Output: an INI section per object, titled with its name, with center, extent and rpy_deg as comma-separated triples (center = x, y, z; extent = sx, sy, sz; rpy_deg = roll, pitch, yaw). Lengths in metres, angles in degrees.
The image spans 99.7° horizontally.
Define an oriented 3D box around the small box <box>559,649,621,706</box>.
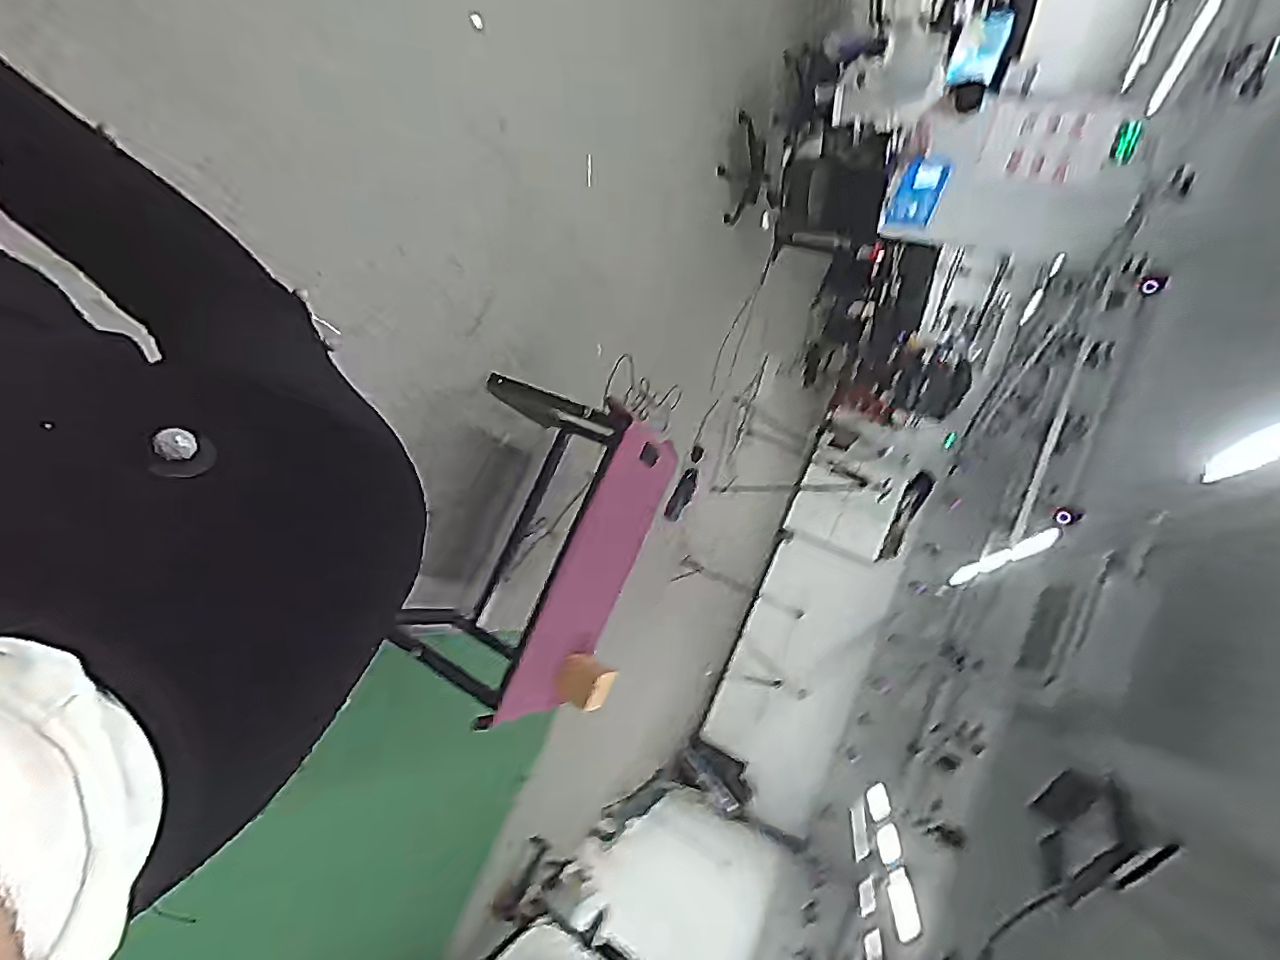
[small box]
center = -0.211, 0.829, 2.287
extent = 0.168, 0.176, 0.179
rpy_deg = -66, 156, -7
